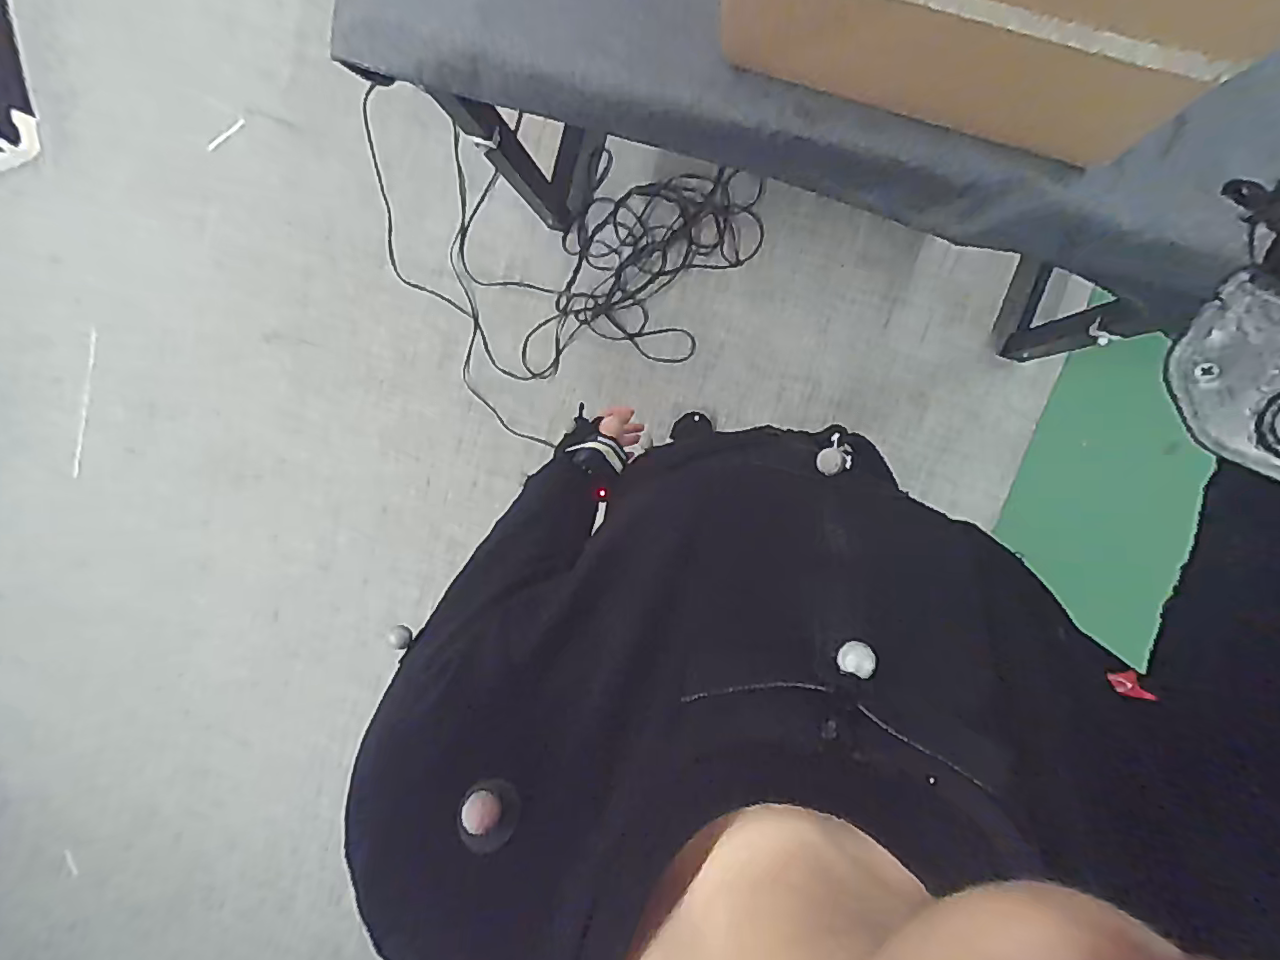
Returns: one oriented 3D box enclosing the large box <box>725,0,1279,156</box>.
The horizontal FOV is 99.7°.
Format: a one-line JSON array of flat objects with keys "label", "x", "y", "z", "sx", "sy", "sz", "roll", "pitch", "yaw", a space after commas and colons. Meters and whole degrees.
[{"label": "large box", "x": 0.304, "y": -0.514, "z": 0.399, "sx": 0.408, "sy": 0.320, "sz": 0.320, "roll": 20, "pitch": 97, "yaw": 6}]
